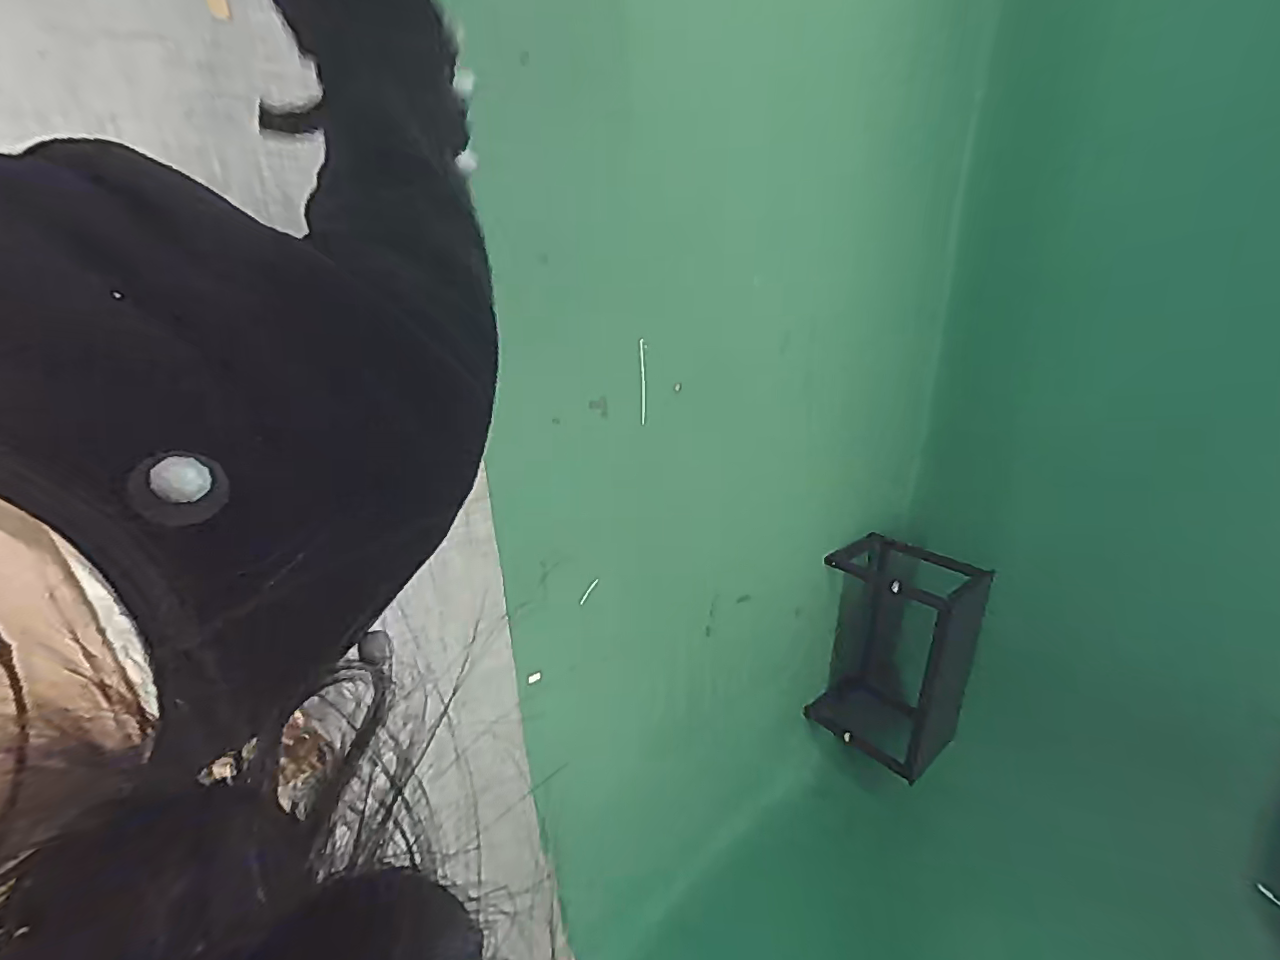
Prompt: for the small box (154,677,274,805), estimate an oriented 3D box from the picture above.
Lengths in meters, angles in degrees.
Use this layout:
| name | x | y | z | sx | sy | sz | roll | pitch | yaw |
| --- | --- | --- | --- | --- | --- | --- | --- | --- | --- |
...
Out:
| name | x | y | z | sx | sy | sz | roll | pitch | yaw |
| --- | --- | --- | --- | --- | --- | --- | --- | --- | --- |
| small box | -0.997 | 0.599 | 1.268 | 0.179 | 0.176 | 0.168 | -24 | 118 | -33 |
